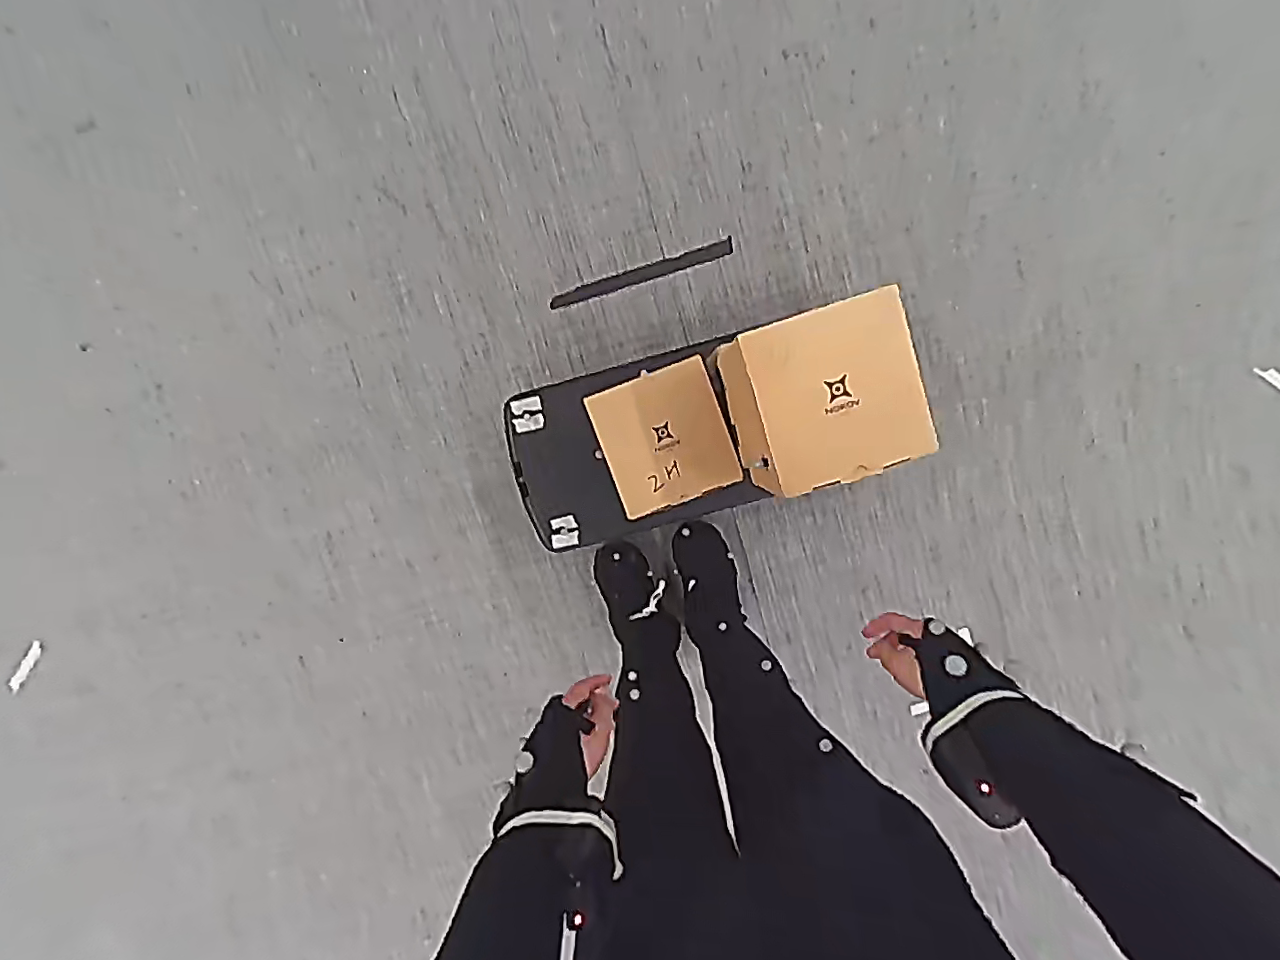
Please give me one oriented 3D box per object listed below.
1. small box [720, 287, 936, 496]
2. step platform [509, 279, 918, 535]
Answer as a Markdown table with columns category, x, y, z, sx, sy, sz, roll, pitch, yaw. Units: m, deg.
| category | x | y | z | sx | sy | sz | roll | pitch | yaw |
| --- | --- | --- | --- | --- | --- | --- | --- | --- | --- |
| small box | 0.200 | -0.095 | 0.625 | 0.168 | 0.176 | 0.179 | -18 | 96 | 2 |
| step platform | 0.122 | -0.120 | 0.962 | 0.684 | 0.204 | 0.286 | -15 | 95 | 4 |
